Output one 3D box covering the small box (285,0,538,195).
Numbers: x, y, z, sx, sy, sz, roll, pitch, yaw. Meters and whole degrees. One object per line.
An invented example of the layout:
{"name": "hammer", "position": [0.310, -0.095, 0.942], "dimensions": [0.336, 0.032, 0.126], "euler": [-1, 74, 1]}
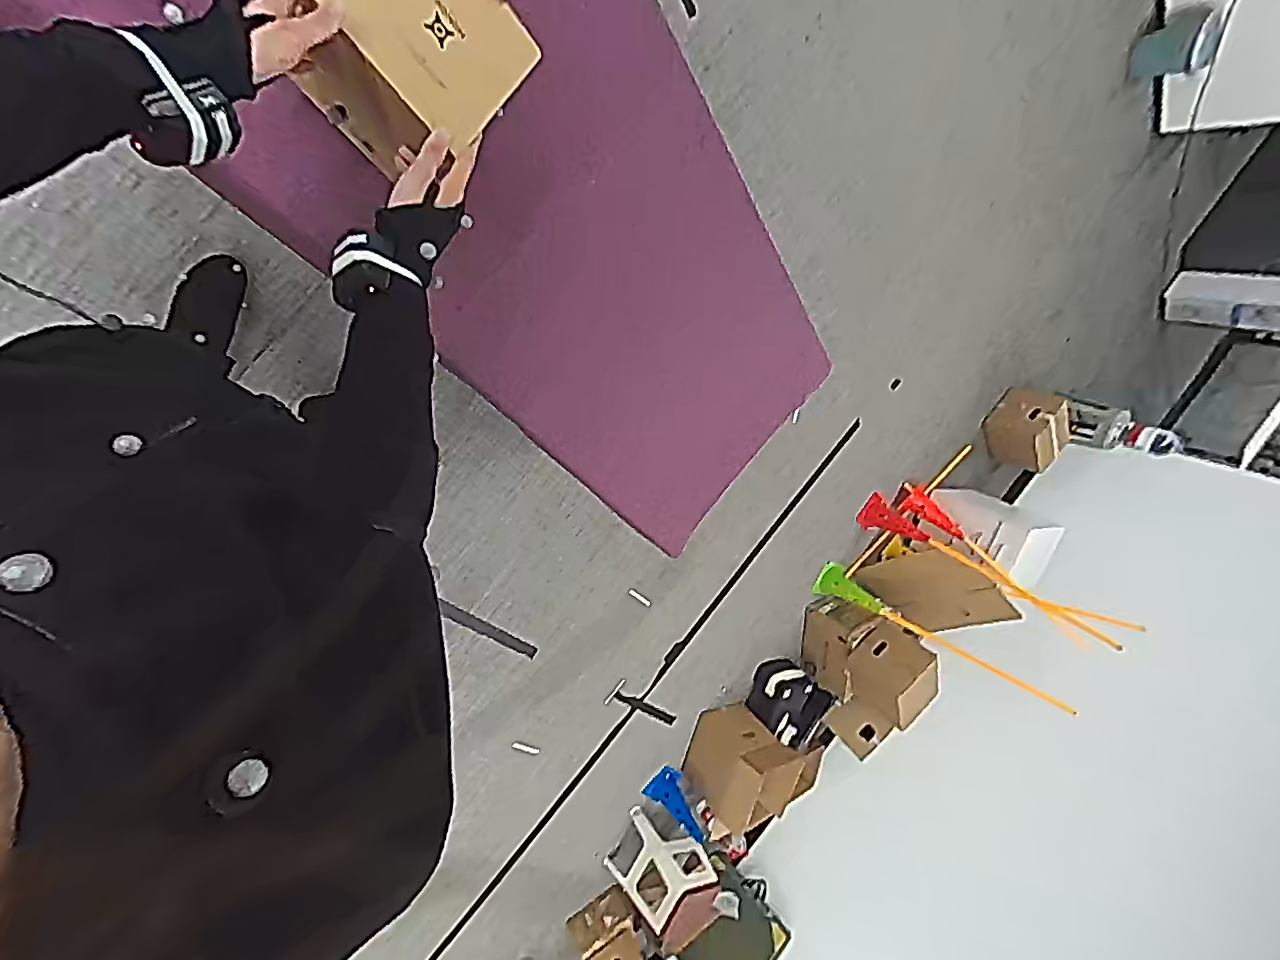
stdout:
{"name": "small box", "position": [-0.254, -0.454, 0.596], "dimensions": [0.168, 0.176, 0.179], "euler": [43, 71, -39]}
